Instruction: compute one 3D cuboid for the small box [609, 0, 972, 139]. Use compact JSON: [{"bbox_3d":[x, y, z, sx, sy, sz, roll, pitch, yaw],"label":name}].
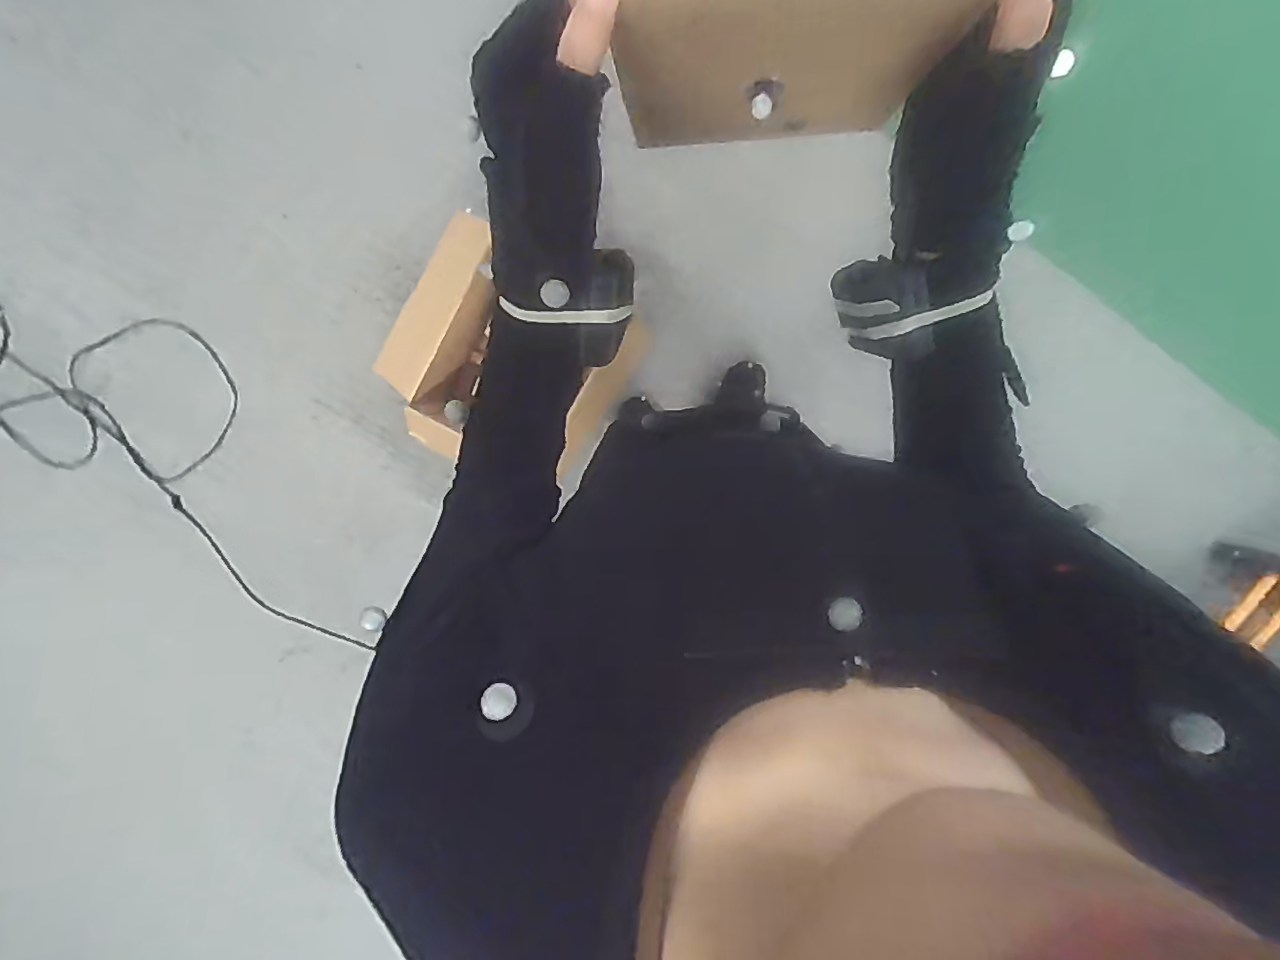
[{"bbox_3d":[0.073,-0.301,0.281,0.168,0.176,0.179,-1,103,5],"label":"small box"}]
